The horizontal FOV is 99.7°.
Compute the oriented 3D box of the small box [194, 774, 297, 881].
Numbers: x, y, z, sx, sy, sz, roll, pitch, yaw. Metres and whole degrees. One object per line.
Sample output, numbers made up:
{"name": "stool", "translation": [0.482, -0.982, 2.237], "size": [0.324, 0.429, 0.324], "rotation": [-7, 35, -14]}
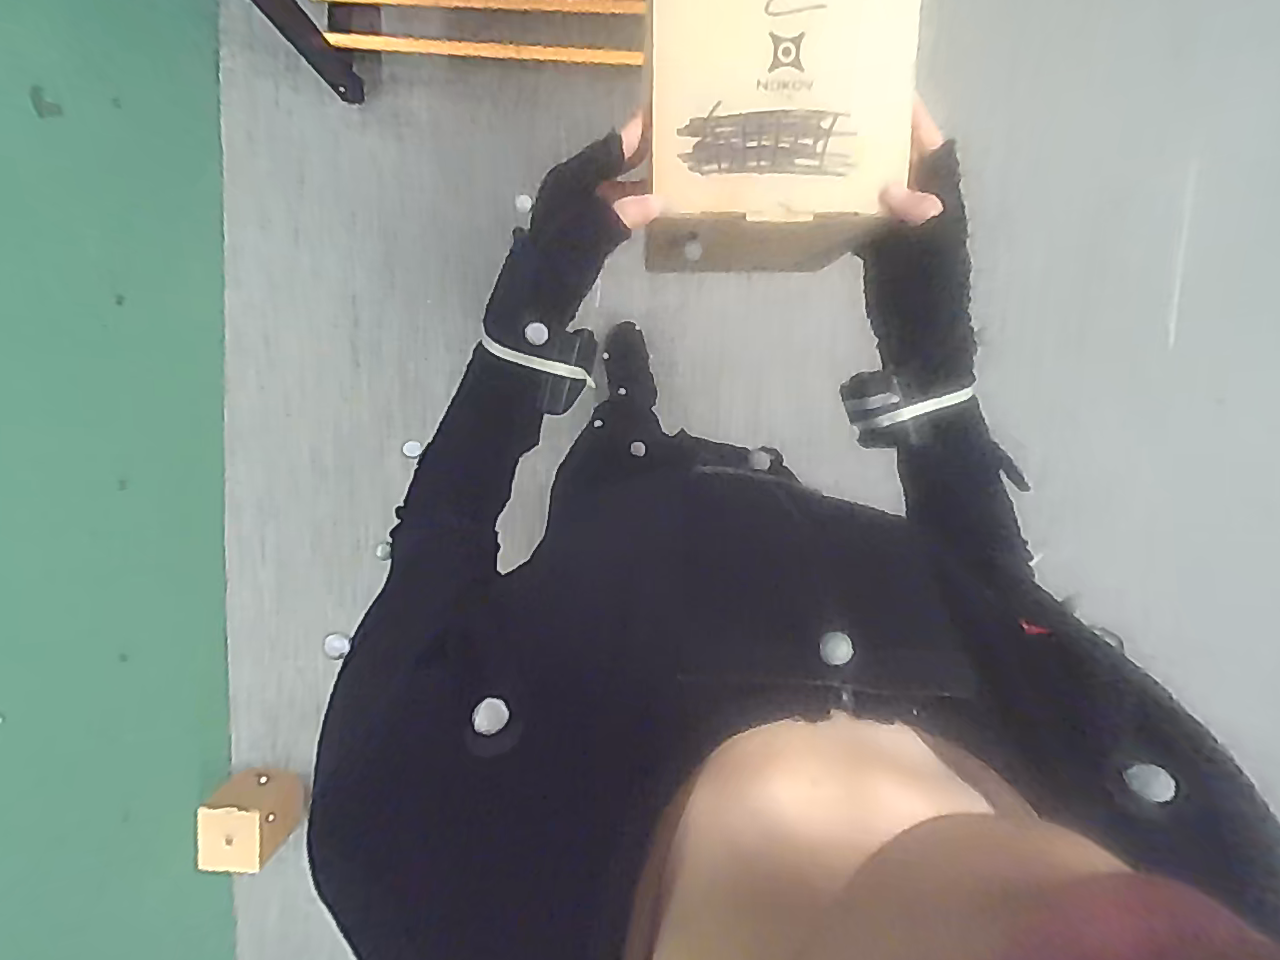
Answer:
{"name": "small box", "translation": [-1.063, 0.938, 1.467], "size": [0.168, 0.176, 0.179], "rotation": [3, 94, 0]}
